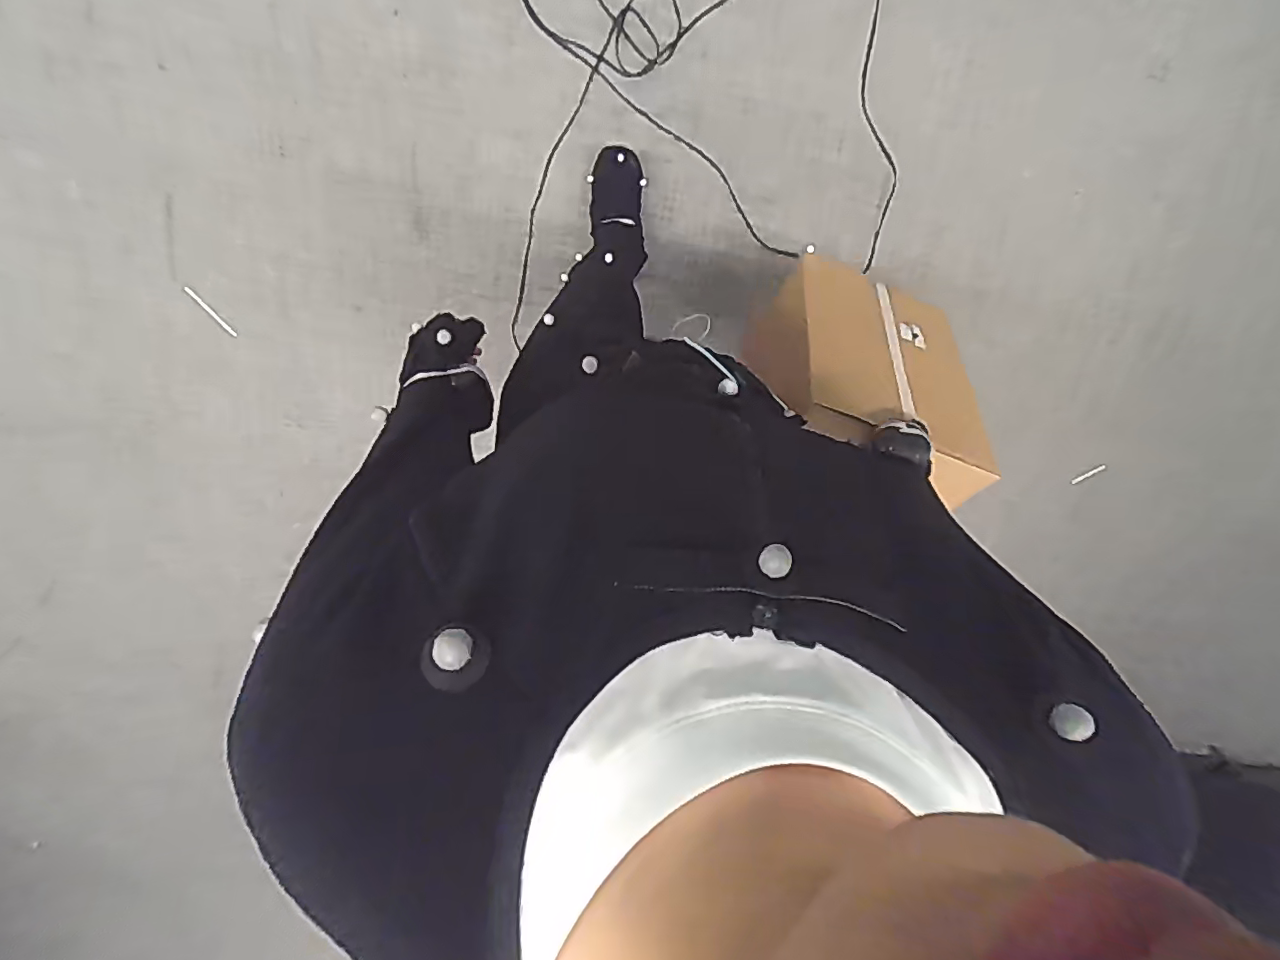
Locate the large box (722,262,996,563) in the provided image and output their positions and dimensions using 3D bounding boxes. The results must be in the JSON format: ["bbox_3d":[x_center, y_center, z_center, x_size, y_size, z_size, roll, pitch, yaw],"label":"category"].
[{"bbox_3d":[0.359,-0.116,1.001,0.320,0.408,0.320,19,140,-10],"label":"large box"}]
